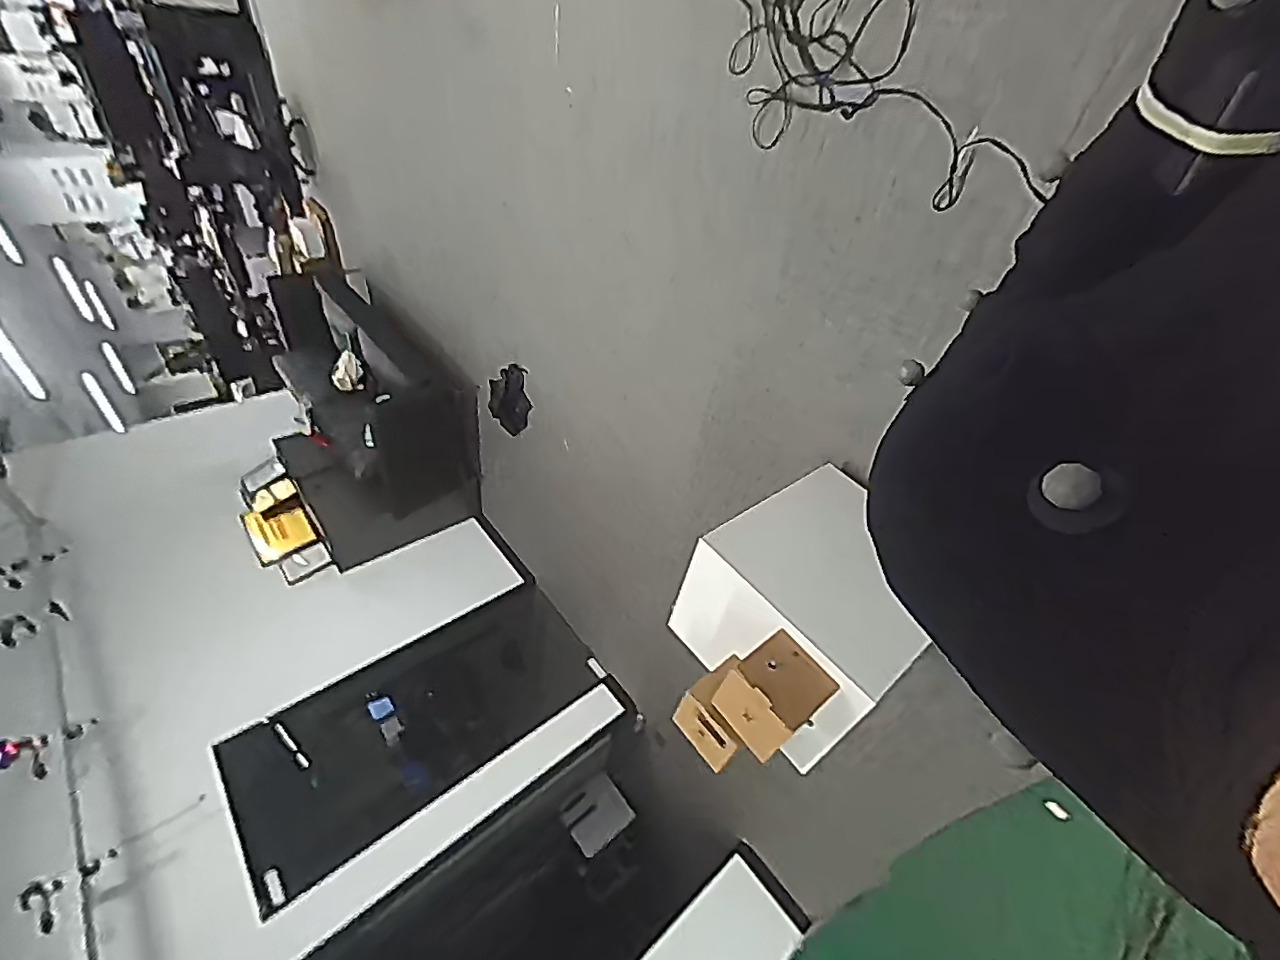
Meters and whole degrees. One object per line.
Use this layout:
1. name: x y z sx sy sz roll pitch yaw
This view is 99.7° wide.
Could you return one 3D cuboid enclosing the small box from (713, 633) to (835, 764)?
1. small box: 0.290 0.465 1.167 0.168 0.176 0.179 46 143 30
